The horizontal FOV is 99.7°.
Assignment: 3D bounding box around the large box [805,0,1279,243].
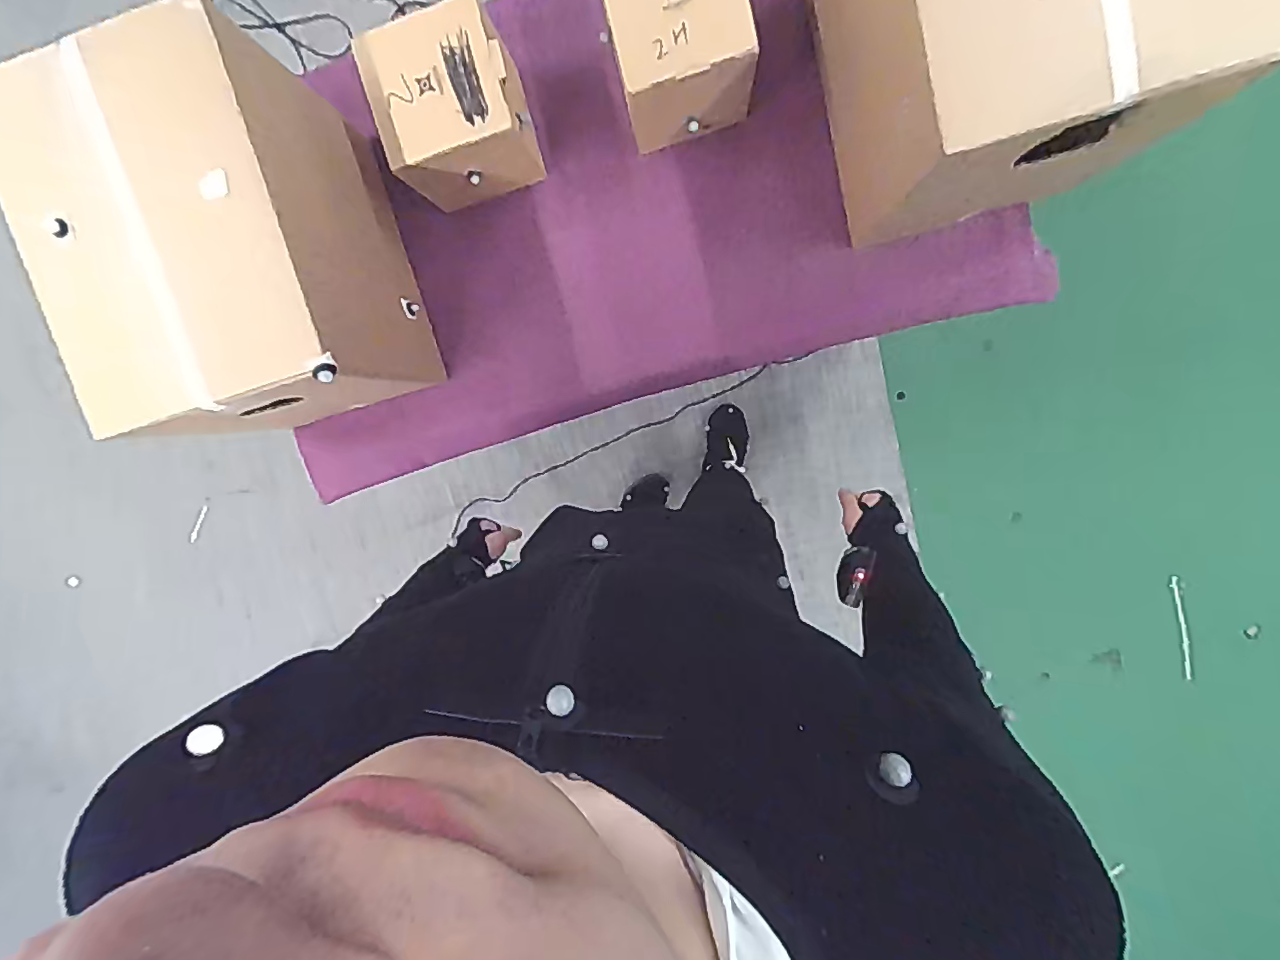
[{"bbox_3d":[0.404,-0.555,0.622,0.320,0.320,0.408,-14,97,8],"label":"large box"}]
